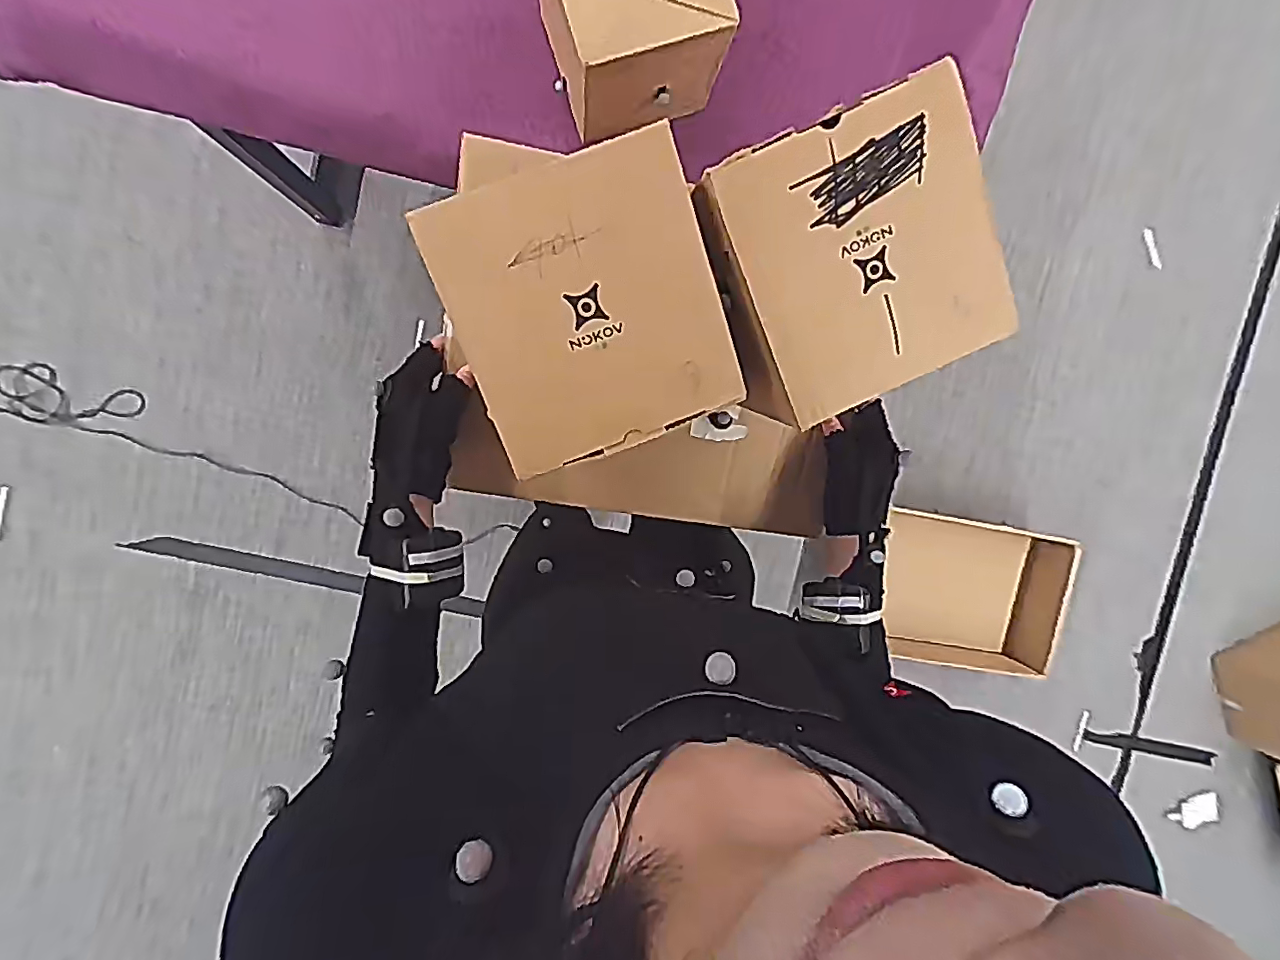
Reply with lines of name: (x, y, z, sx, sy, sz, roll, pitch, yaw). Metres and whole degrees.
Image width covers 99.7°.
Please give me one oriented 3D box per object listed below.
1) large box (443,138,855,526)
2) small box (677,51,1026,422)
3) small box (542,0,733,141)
large box: (0.007, -0.155, 0.656, 0.408, 0.320, 0.320, 8, 104, -8)
small box: (0.141, -0.163, 0.415, 0.168, 0.176, 0.179, -24, 105, 1)
small box: (-0.009, -0.537, 0.621, 0.179, 0.176, 0.168, -19, 98, -2)
